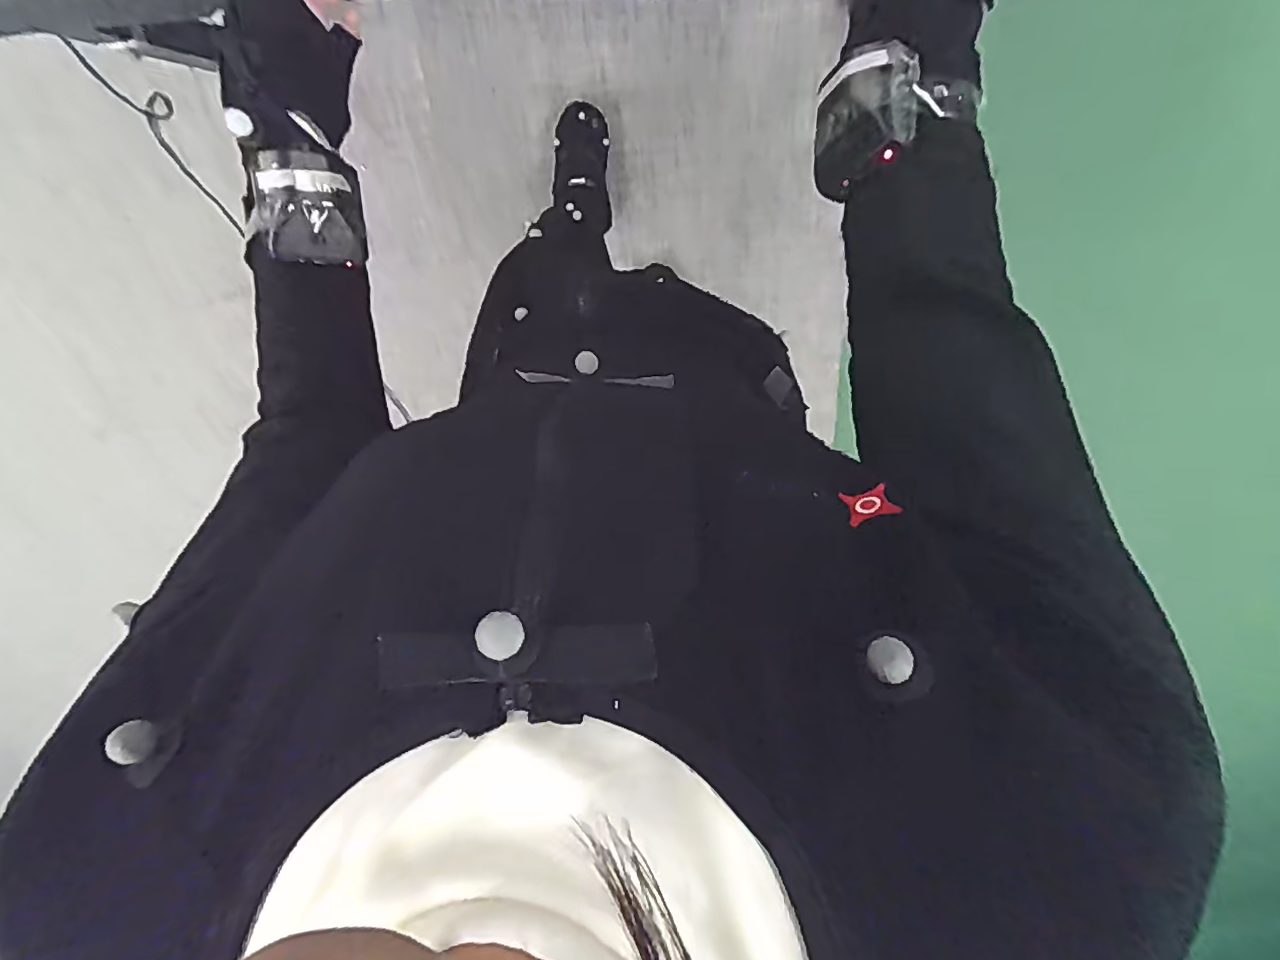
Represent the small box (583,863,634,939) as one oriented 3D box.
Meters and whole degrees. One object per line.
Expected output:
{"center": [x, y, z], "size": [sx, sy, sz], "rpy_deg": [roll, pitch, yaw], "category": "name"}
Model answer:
{"center": [-0.111, 1.523, 1.962], "size": [0.179, 0.176, 0.168], "rpy_deg": [0, 116, -1], "category": "small box"}
